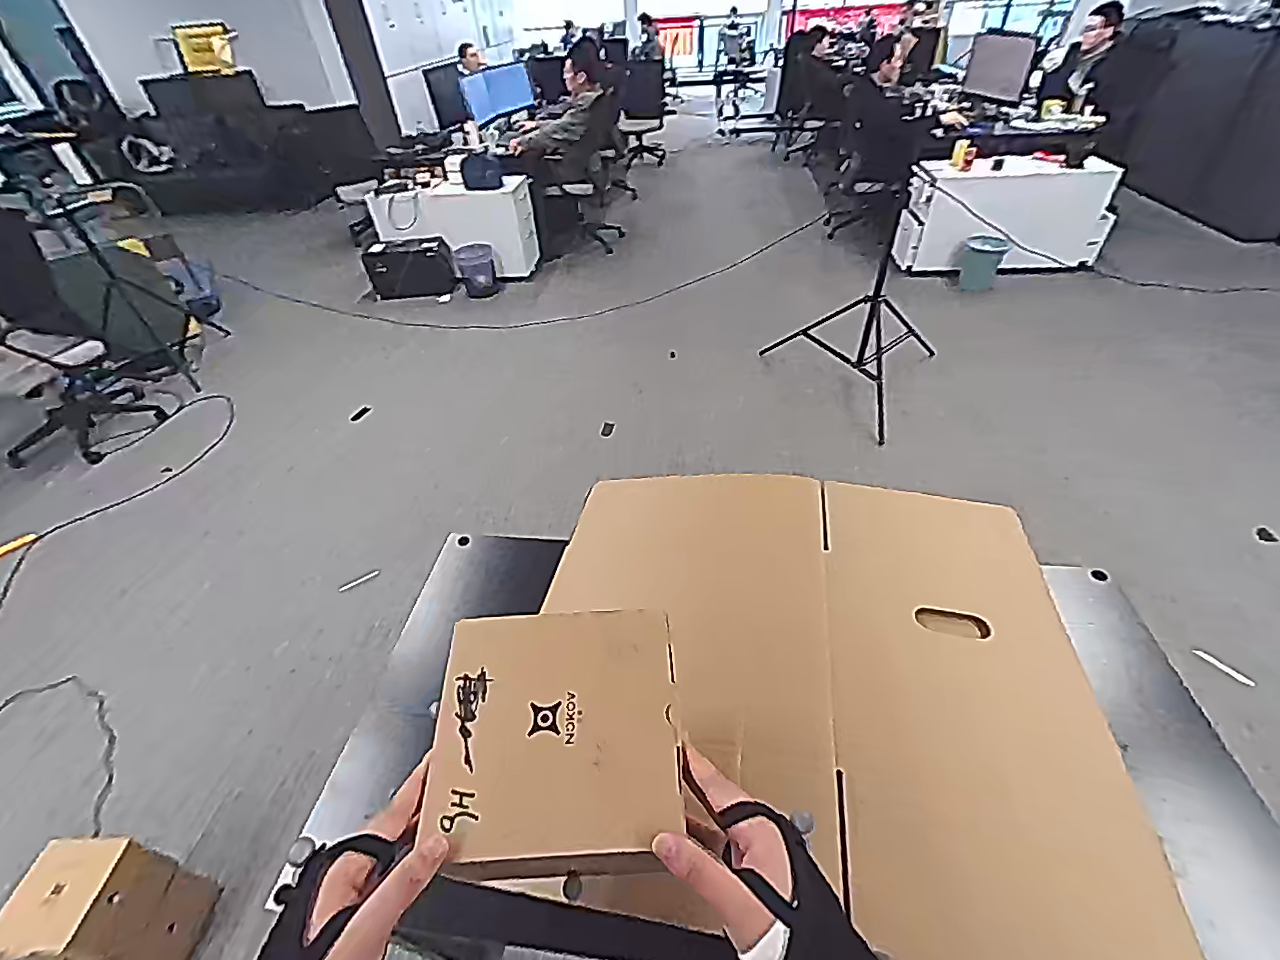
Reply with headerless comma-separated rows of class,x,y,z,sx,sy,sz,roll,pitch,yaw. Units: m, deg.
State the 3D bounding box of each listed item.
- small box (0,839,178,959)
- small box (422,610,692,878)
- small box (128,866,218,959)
small box,-1.082,0.836,1.070,0.168,0.176,0.179,-2,41,2
small box,-0.058,0.225,0.458,0.179,0.176,0.168,-2,49,-2
small box,-1.074,0.961,1.174,0.168,0.176,0.179,-1,42,4
